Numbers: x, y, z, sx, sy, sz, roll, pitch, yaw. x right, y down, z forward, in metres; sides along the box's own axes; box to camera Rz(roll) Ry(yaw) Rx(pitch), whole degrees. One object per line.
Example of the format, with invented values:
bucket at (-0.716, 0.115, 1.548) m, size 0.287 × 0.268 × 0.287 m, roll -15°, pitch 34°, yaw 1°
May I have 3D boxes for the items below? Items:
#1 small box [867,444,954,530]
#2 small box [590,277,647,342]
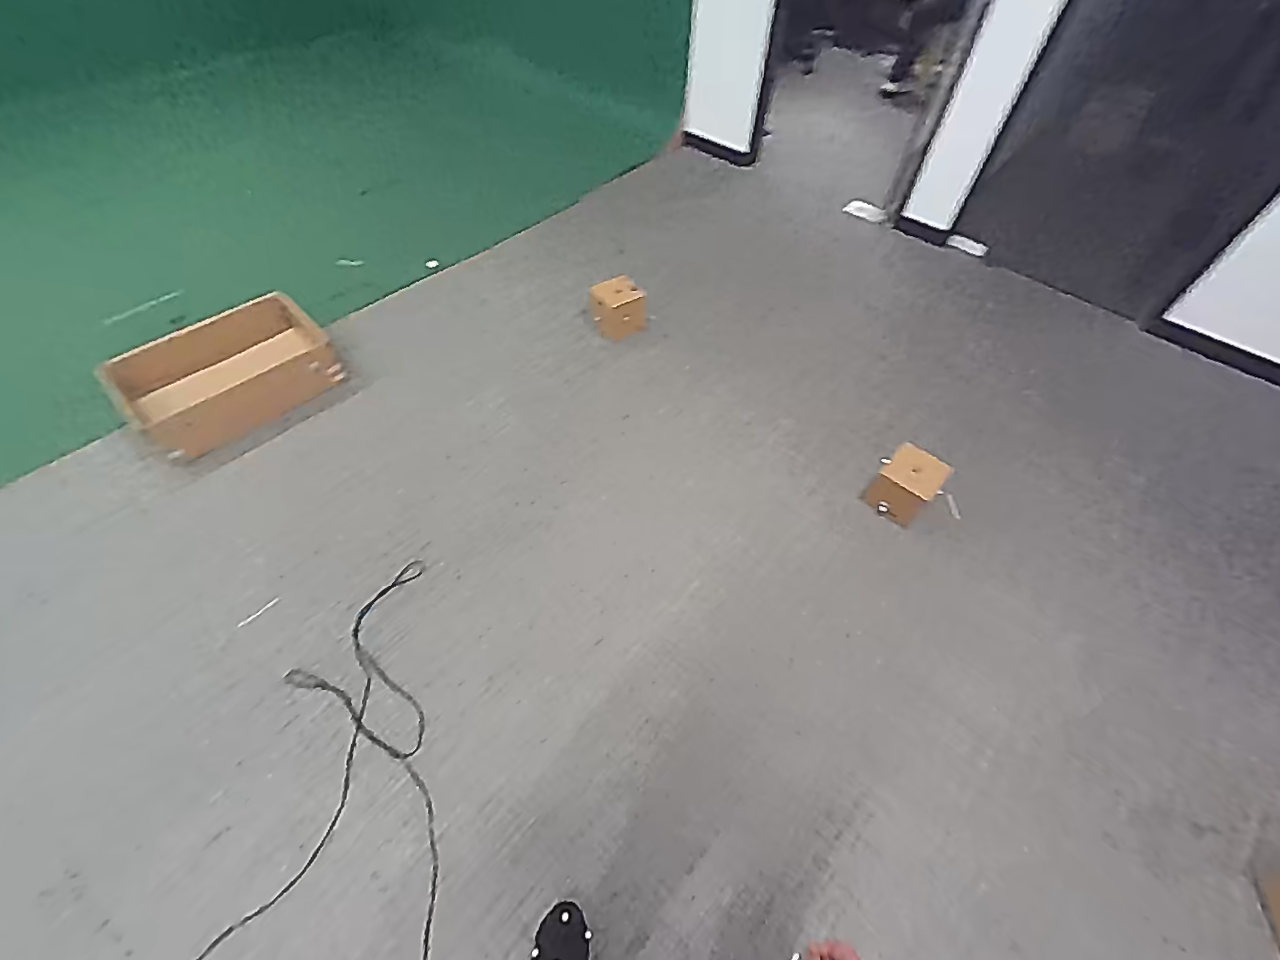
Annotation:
small box at (0.859, 0.025, 1.736) m, size 0.168 × 0.176 × 0.179 m, roll 36°, pitch 62°, yaw 23°
small box at (-0.086, -0.697, 2.218) m, size 0.179 × 0.176 × 0.168 m, roll -29°, pitch 60°, yaw -21°
